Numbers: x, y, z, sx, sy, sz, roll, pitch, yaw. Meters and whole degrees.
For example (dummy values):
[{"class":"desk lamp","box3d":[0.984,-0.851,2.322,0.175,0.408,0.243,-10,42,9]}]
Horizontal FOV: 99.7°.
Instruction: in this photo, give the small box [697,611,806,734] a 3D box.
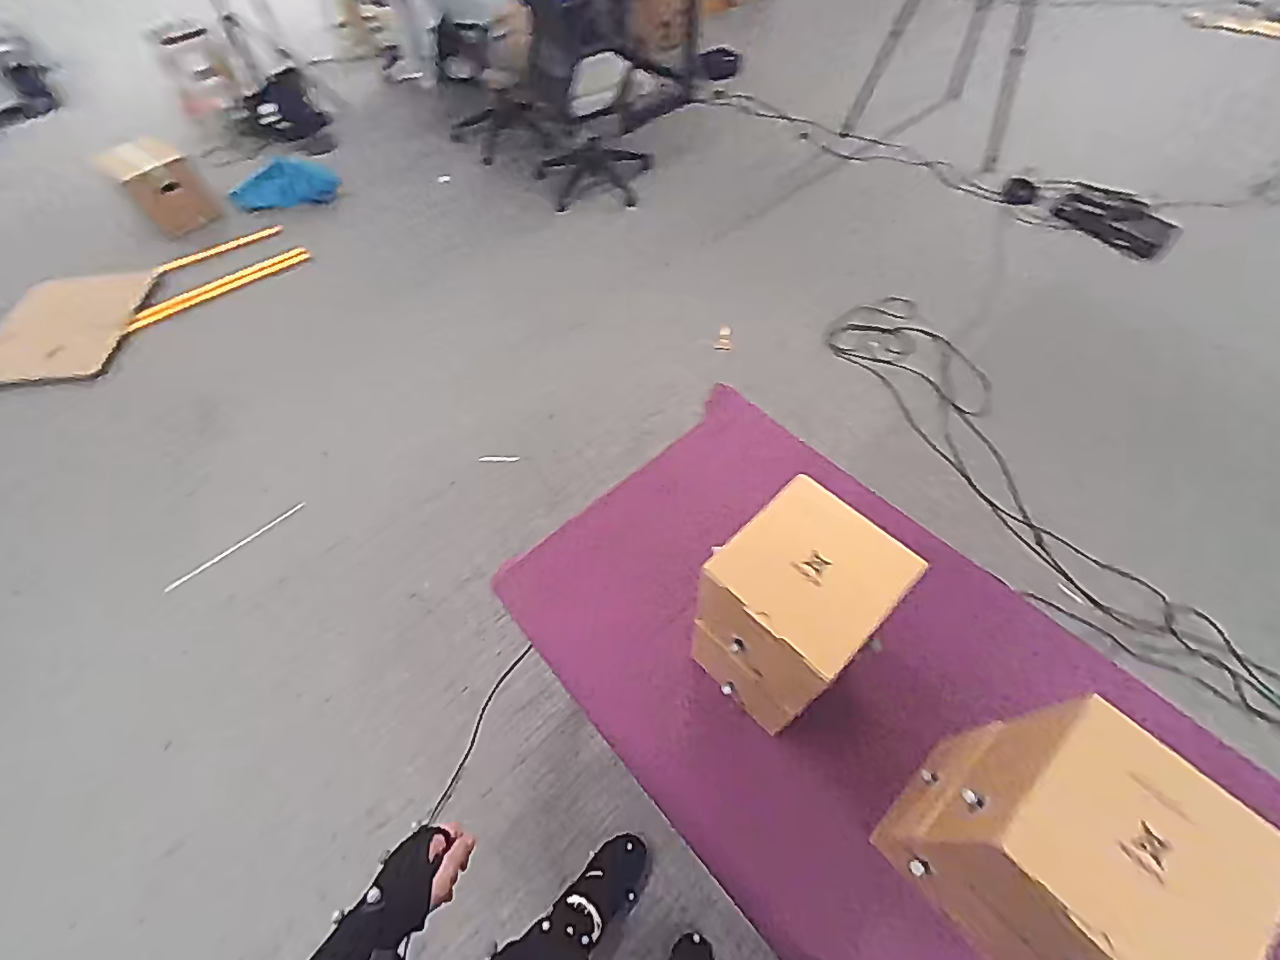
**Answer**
[{"class":"small box","box3d":[0.194,0.225,0.765,0.179,0.176,0.168,-38,63,-20]}]

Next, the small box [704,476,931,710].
[{"class":"small box","box3d":[0.189,0.135,0.630,0.179,0.176,0.168,-39,64,-20]}]

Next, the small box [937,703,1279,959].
[{"class":"small box","box3d":[0.403,0.339,0.485,0.179,0.176,0.168,-36,63,-20]}]
